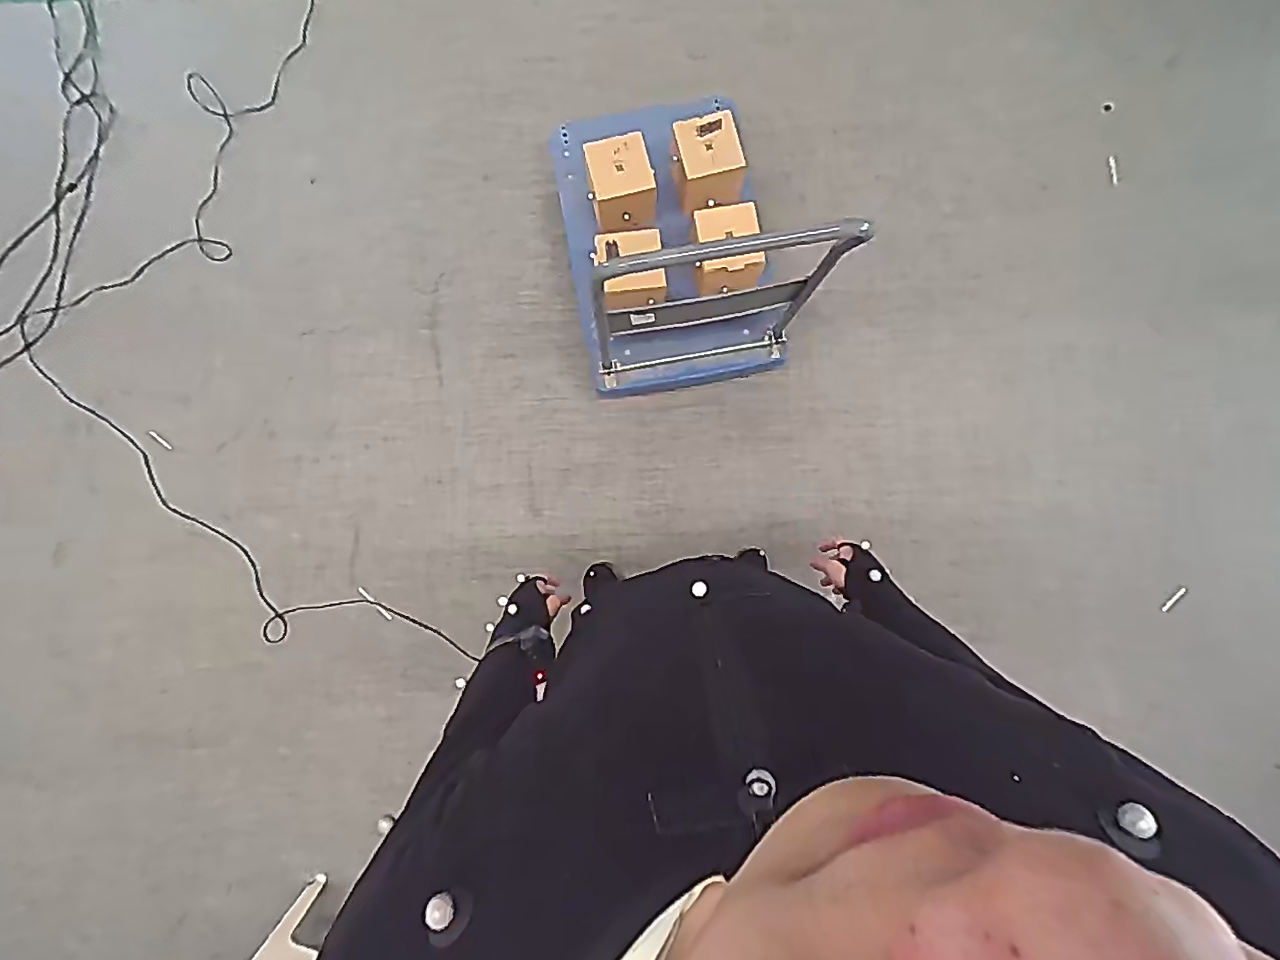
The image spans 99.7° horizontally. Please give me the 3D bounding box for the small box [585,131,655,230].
[{"bbox_3d":[-0.053,-0.845,1.548,0.168,0.176,0.179,-14,82,-2],"label":"small box"}]

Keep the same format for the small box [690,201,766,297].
[{"bbox_3d":[0.240,-0.644,1.519,0.168,0.176,0.179,-10,83,-1],"label":"small box"}]

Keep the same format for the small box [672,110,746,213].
[{"bbox_3d":[0.190,-0.907,1.553,0.168,0.176,0.179,-14,83,0],"label":"small box"}]
